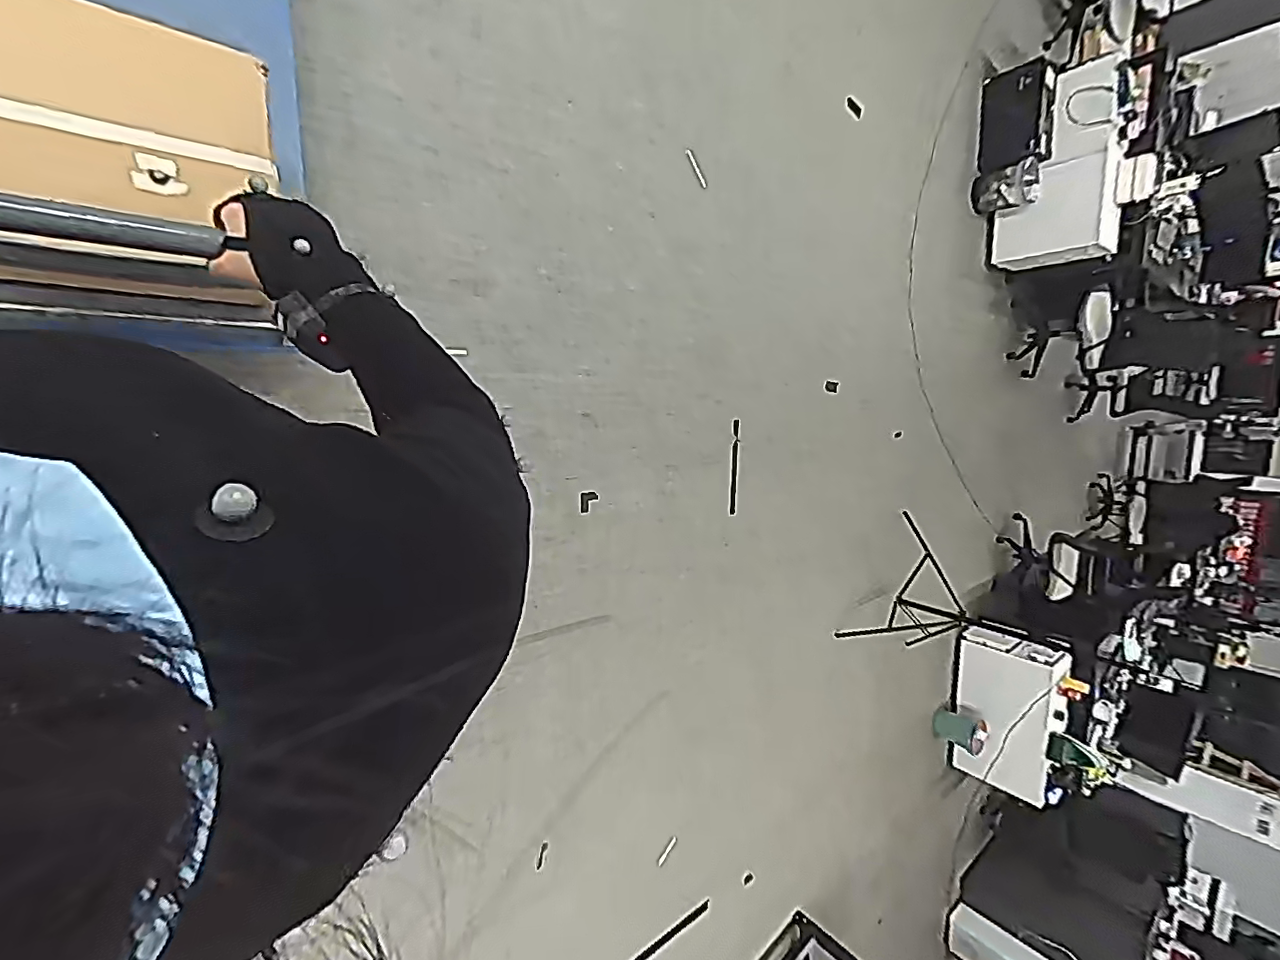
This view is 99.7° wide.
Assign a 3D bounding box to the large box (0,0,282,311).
[{"bbox_3d":[-0.808,-0.451,0.808,0.408,0.320,0.320,-6,100,-40],"label":"large box"}]
